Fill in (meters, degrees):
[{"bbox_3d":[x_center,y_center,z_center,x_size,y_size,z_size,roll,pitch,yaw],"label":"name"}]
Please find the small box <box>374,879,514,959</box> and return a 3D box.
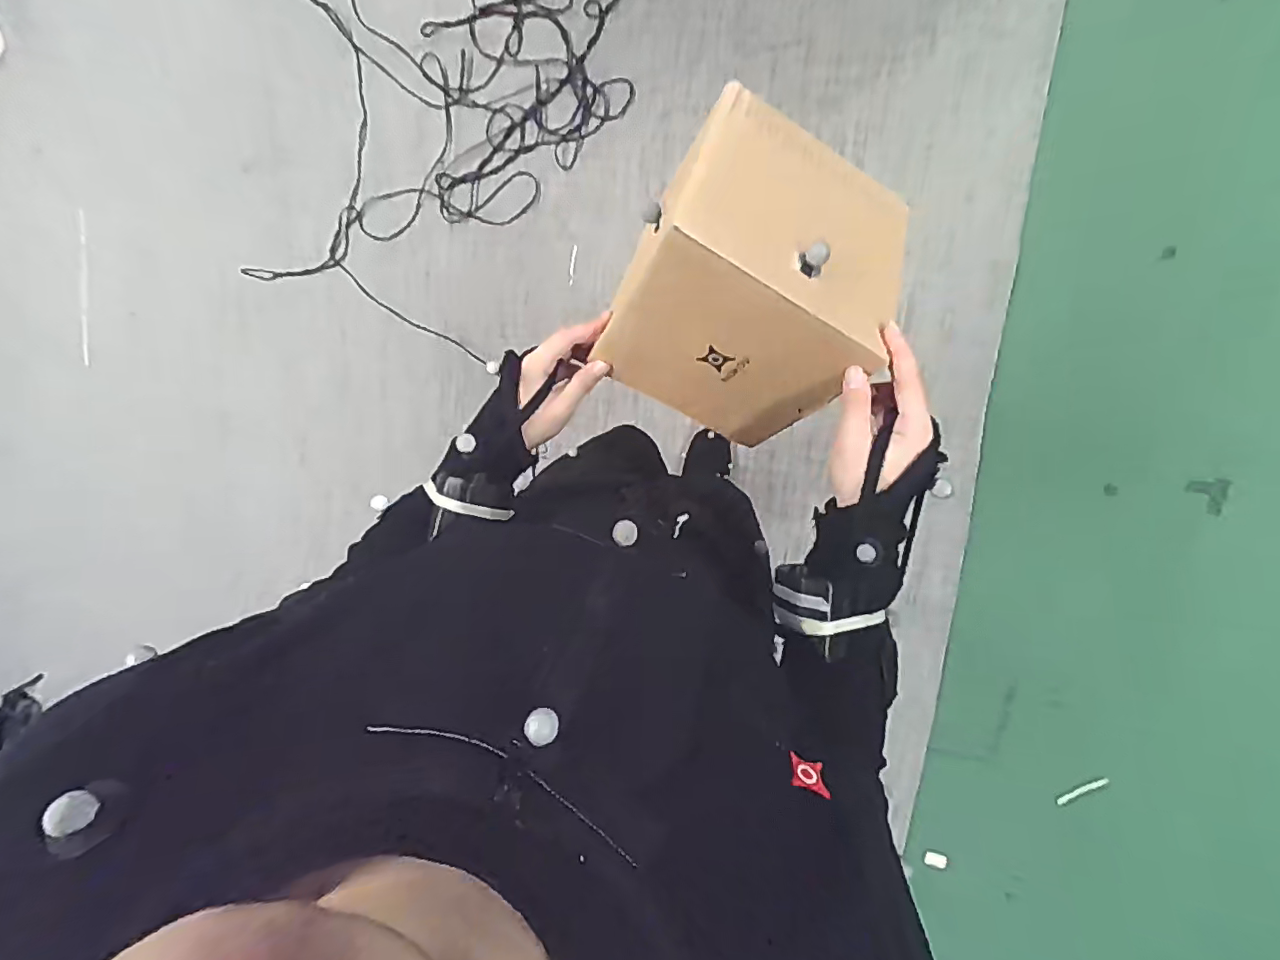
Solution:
[{"bbox_3d":[-0.346,0.857,0.952,0.179,0.176,0.168,11,99,10],"label":"small box"}]
